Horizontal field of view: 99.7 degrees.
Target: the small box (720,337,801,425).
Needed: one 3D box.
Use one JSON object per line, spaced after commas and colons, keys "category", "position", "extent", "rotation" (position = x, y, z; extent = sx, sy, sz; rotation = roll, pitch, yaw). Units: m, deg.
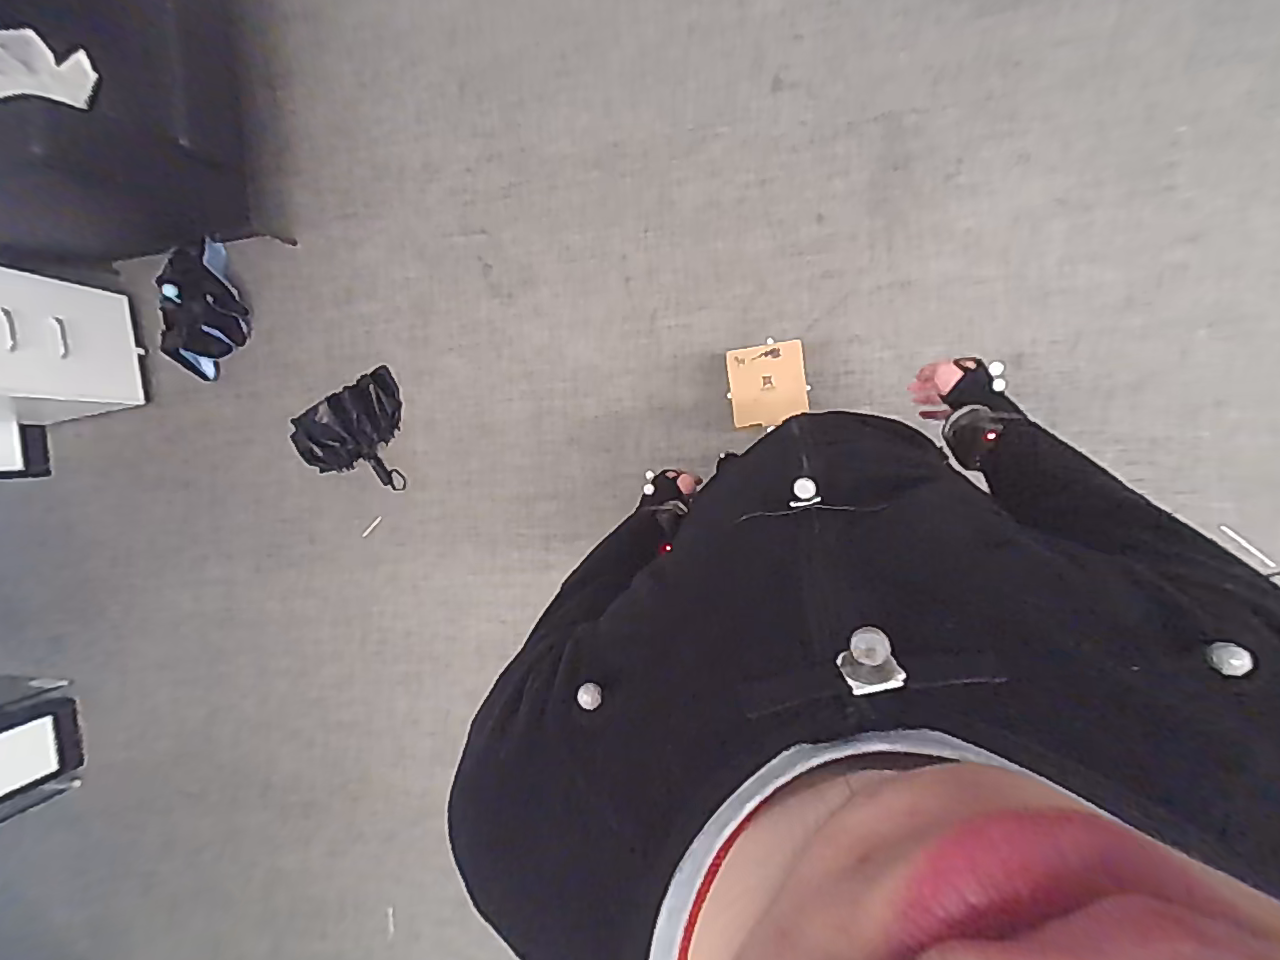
{"category": "small box", "position": [0.288, -0.229, 1.283], "extent": [0.168, 0.176, 0.179], "rotation": [-7, 94, 14]}
